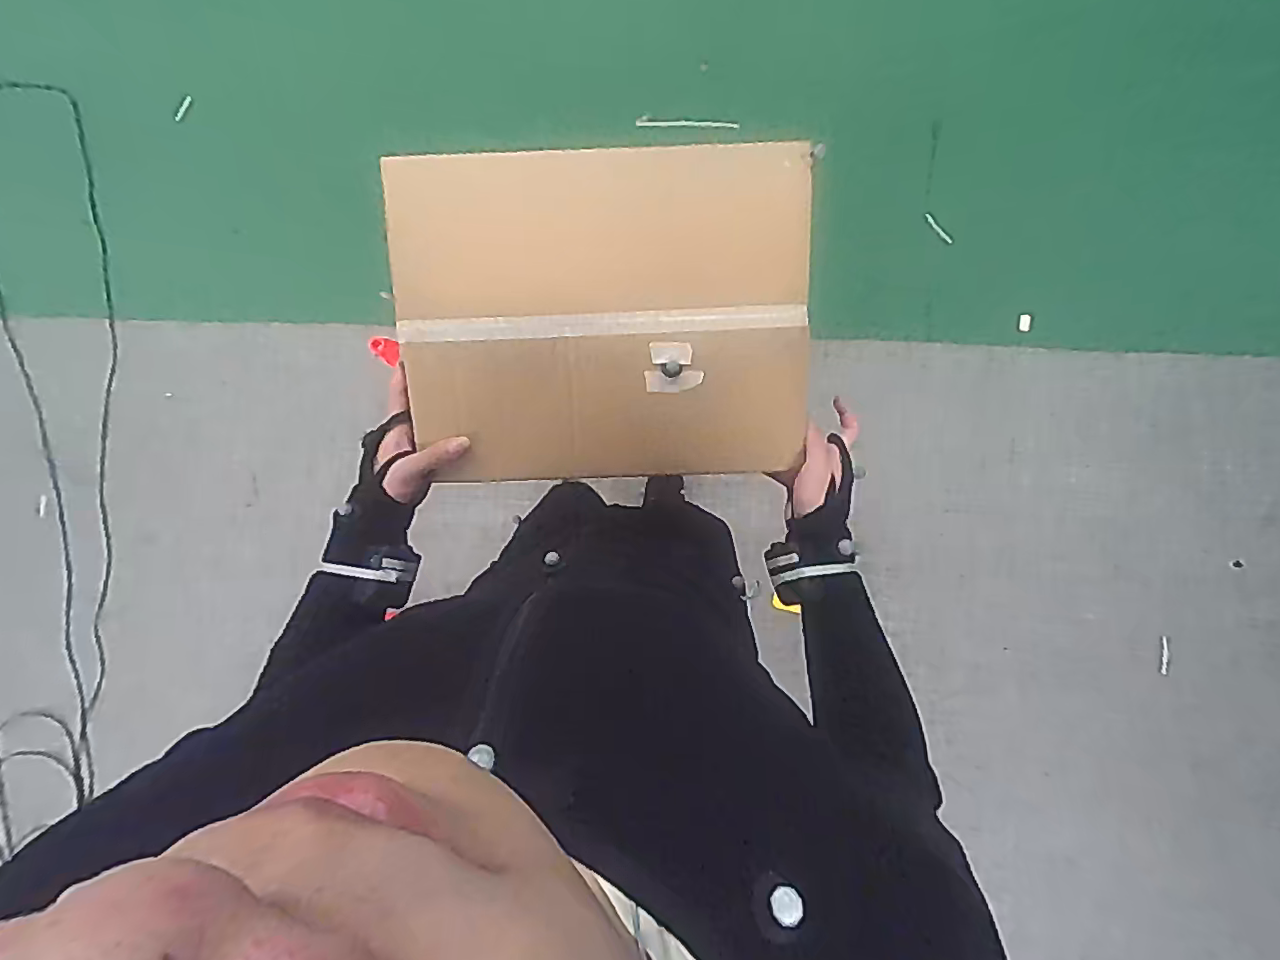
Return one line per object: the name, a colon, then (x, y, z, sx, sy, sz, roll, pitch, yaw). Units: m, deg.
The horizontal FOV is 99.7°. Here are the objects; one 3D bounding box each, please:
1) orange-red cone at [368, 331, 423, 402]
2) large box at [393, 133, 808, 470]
orange-red cone: (-0.639, -0.338, 1.495, 0.199, 0.360, 0.198, 10, 89, 4)
large box: (-0.035, -0.200, 0.688, 0.408, 0.320, 0.320, -2, 103, 0)
